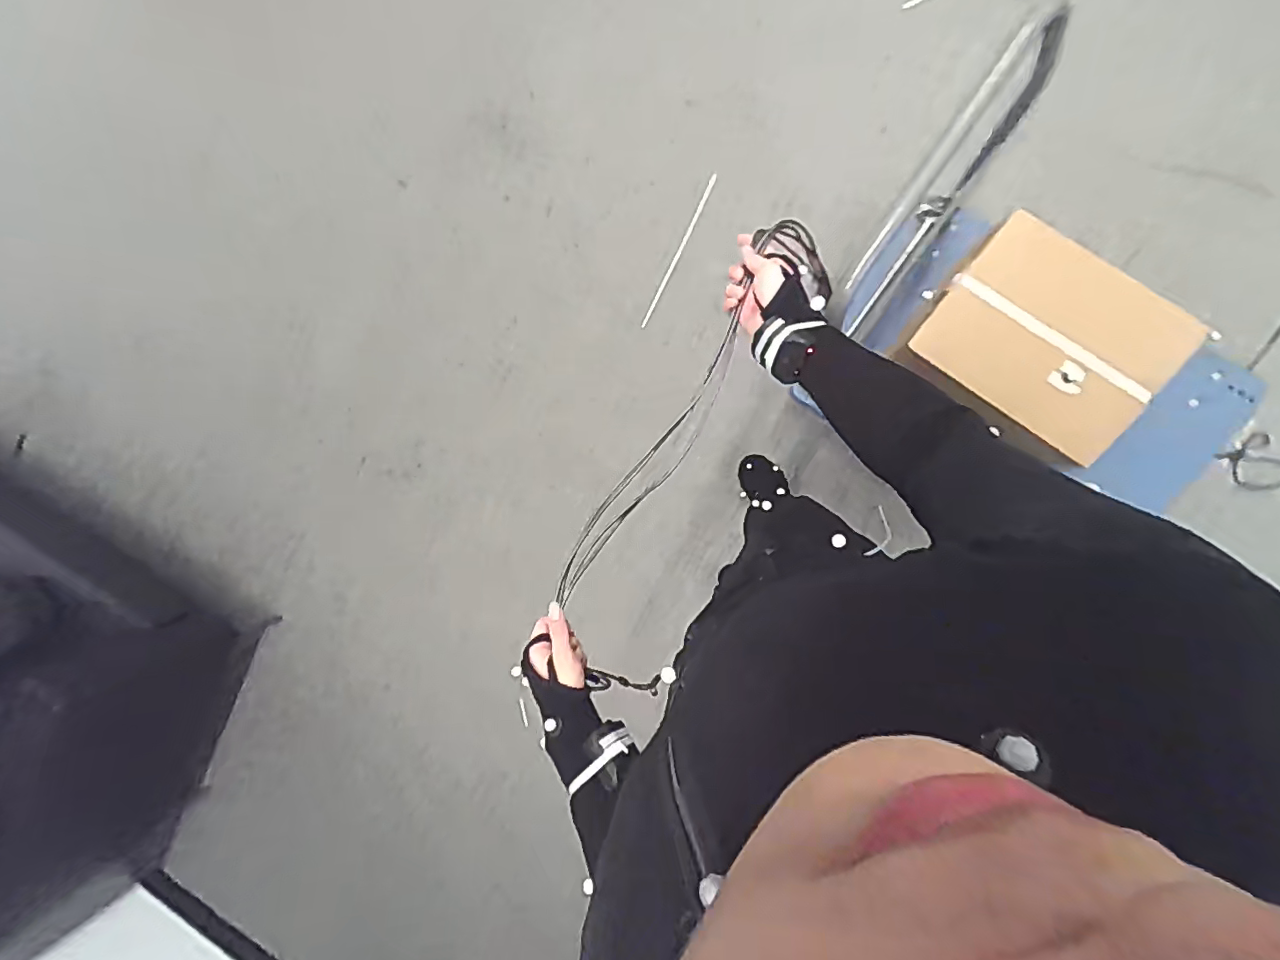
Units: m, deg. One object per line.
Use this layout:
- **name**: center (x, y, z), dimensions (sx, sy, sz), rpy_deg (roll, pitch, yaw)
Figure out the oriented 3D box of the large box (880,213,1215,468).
- **large box**: center (0.804, -0.270, 1.149), dimensions (0.408, 0.320, 0.320), rpy_deg (38, 101, 6)
